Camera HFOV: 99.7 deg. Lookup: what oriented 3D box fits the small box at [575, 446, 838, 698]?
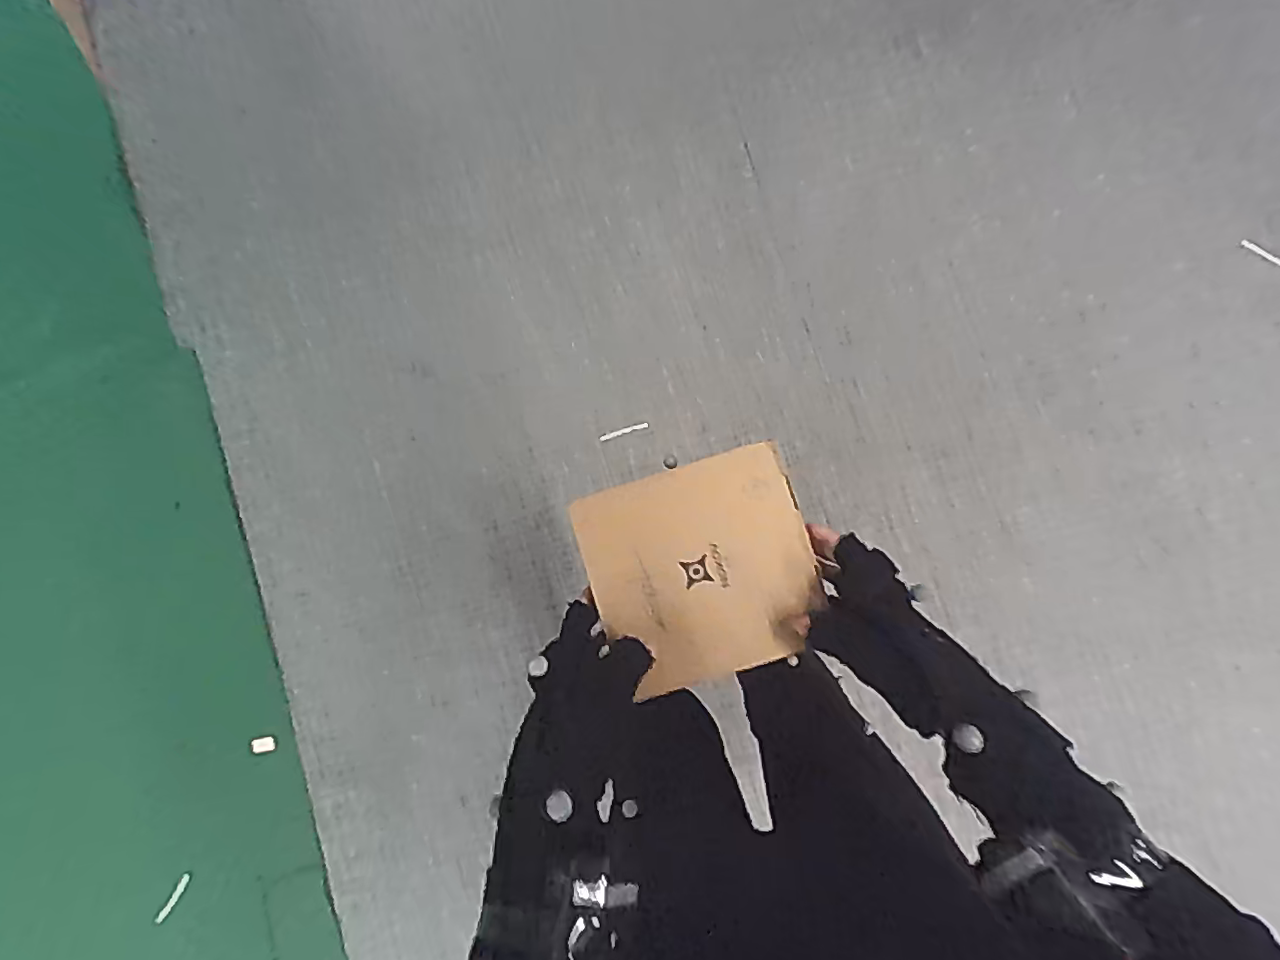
[{"bbox_3d":[0.056,0.077,0.513,0.179,0.176,0.168,-18,85,3],"label":"small box"}]
